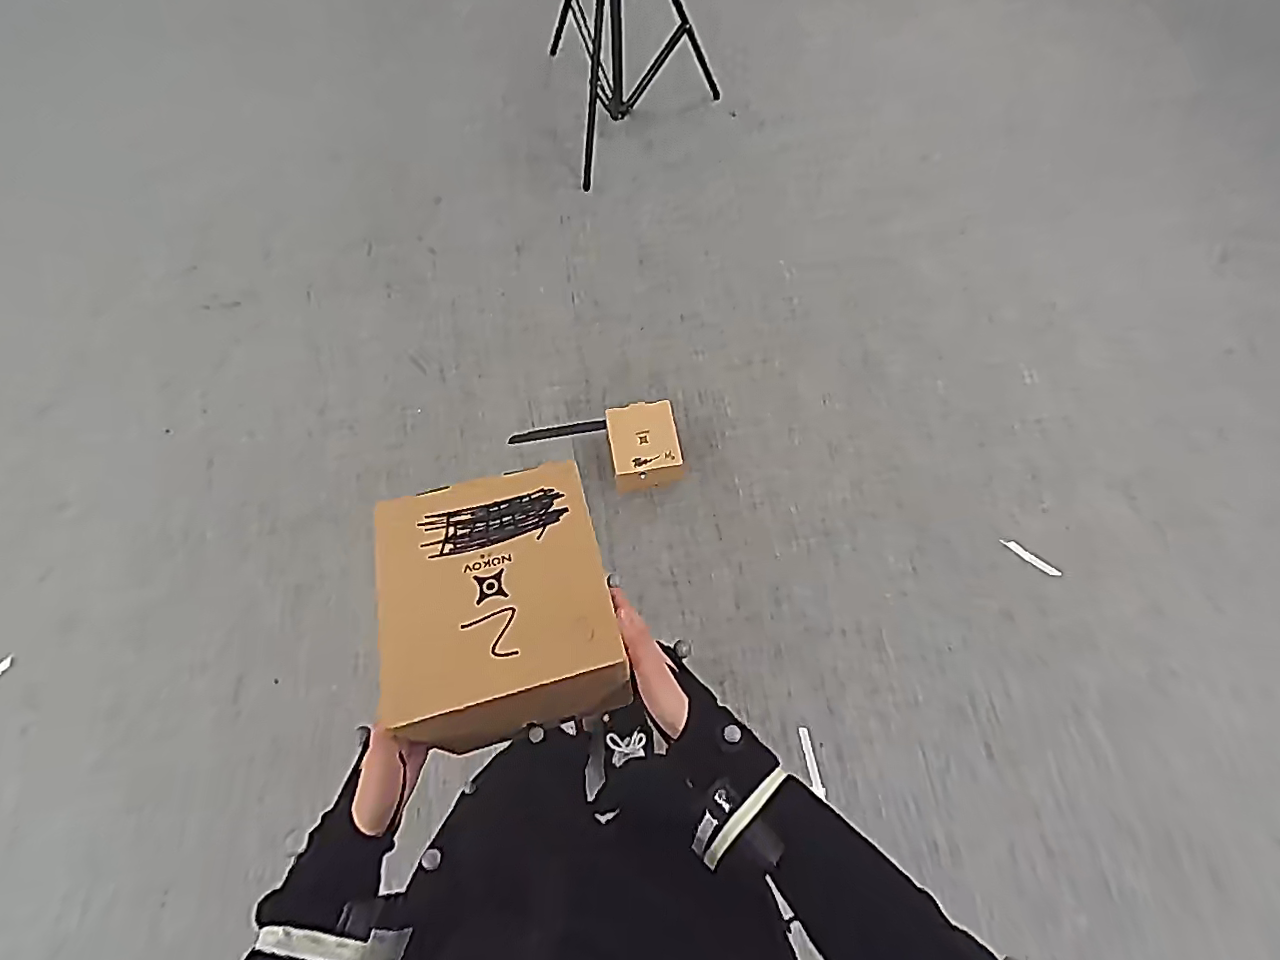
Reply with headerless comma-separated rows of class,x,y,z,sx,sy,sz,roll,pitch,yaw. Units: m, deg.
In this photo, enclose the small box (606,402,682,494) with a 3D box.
small box,0.006,-0.079,1.401,0.168,0.176,0.179,-10,73,-4
